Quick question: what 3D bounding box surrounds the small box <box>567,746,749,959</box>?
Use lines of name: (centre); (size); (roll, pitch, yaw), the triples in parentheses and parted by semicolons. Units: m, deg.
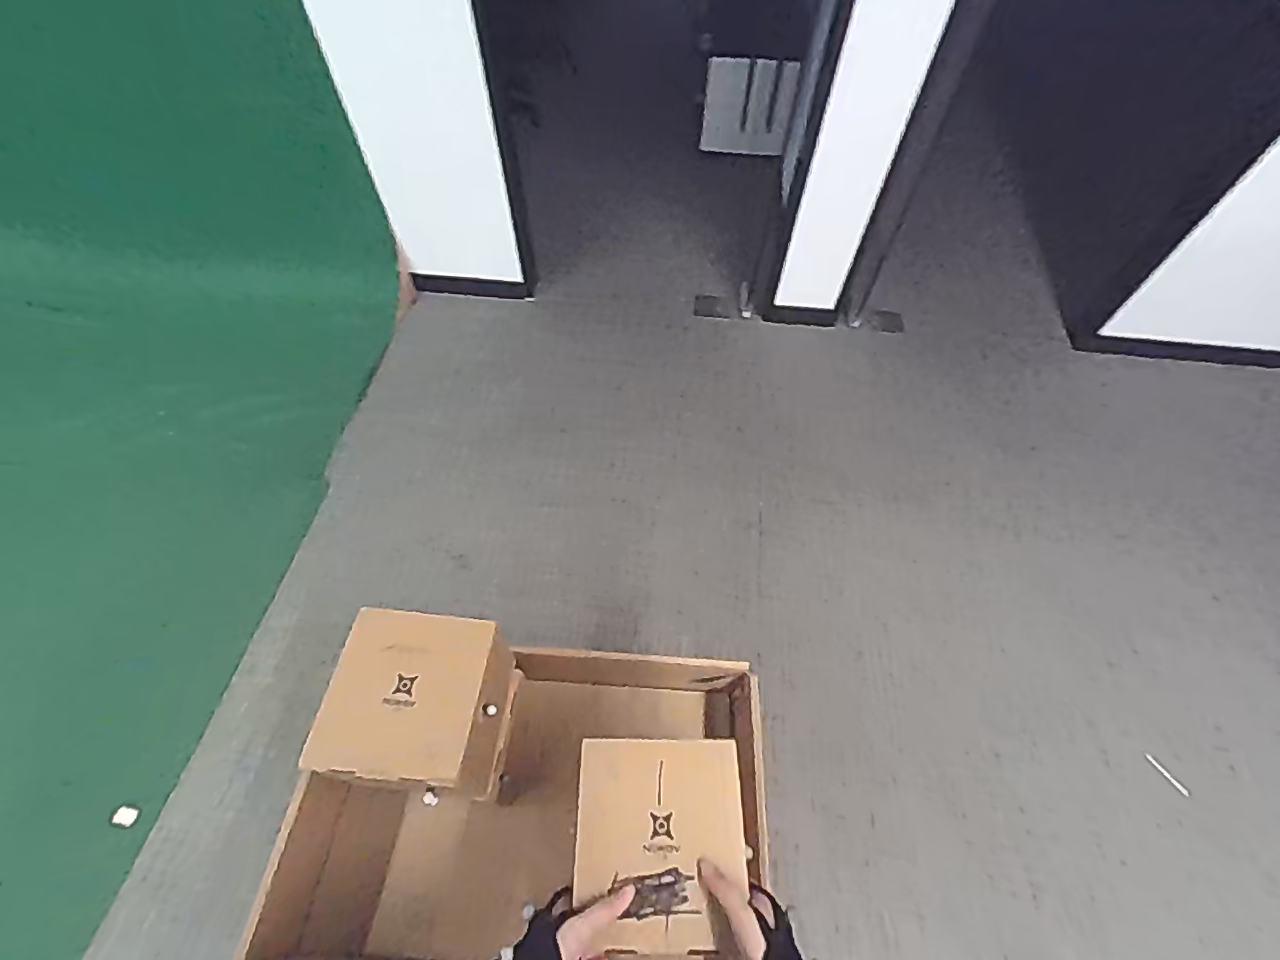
small box: (0.017, 0.400, 0.588); (0.168, 0.176, 0.179); (1, 54, -1)

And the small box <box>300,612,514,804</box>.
small box: (-0.261, 0.284, 0.661); (0.168, 0.176, 0.179); (8, 55, 1)
